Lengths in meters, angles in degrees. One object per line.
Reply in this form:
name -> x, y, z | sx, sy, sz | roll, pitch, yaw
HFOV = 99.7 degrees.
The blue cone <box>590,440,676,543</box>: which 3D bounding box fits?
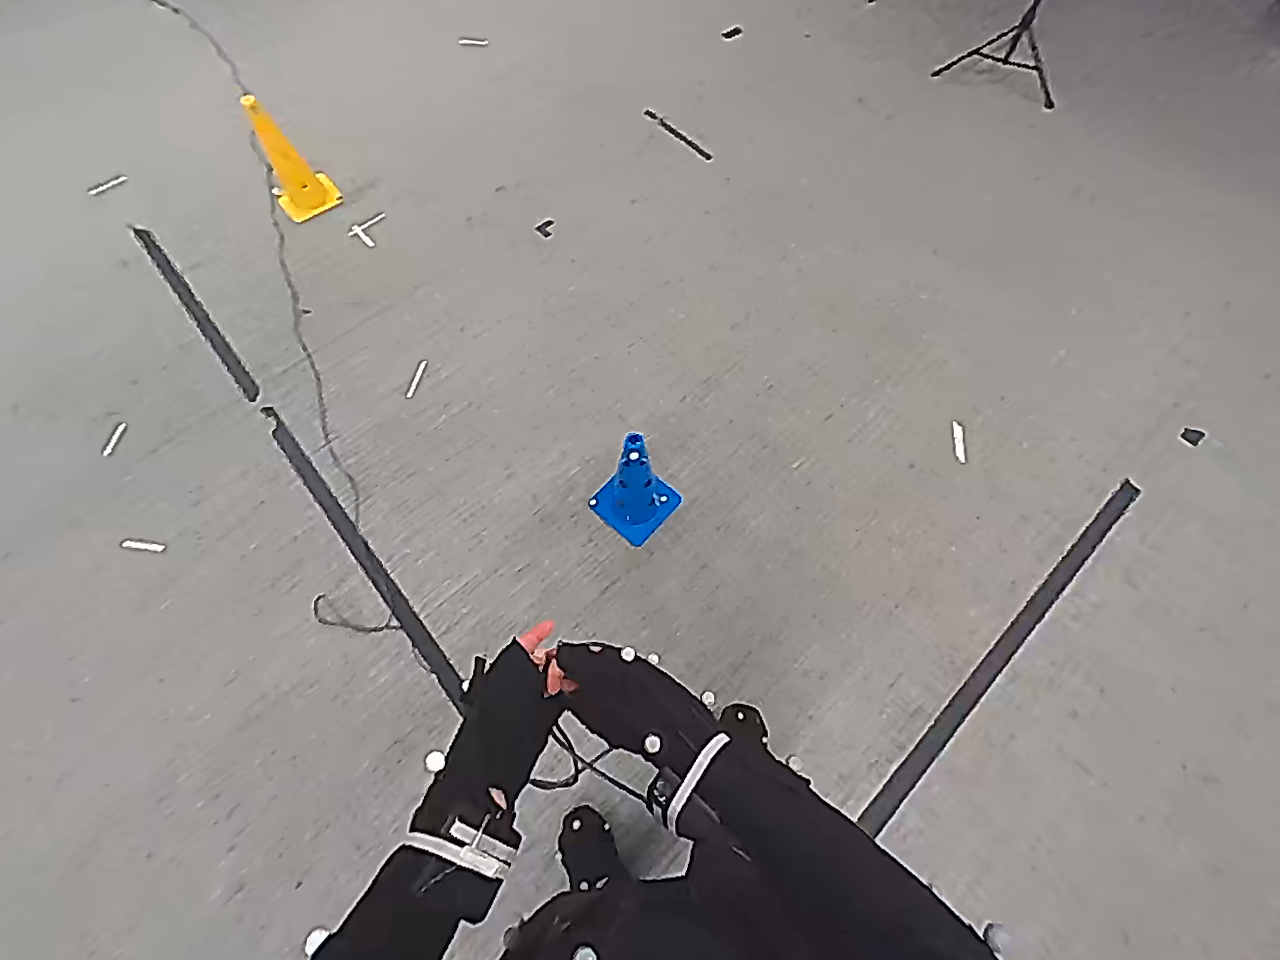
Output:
blue cone -> -0.019, -0.005, 1.368 | 0.193, 0.380, 0.192 | 40, 72, 17
